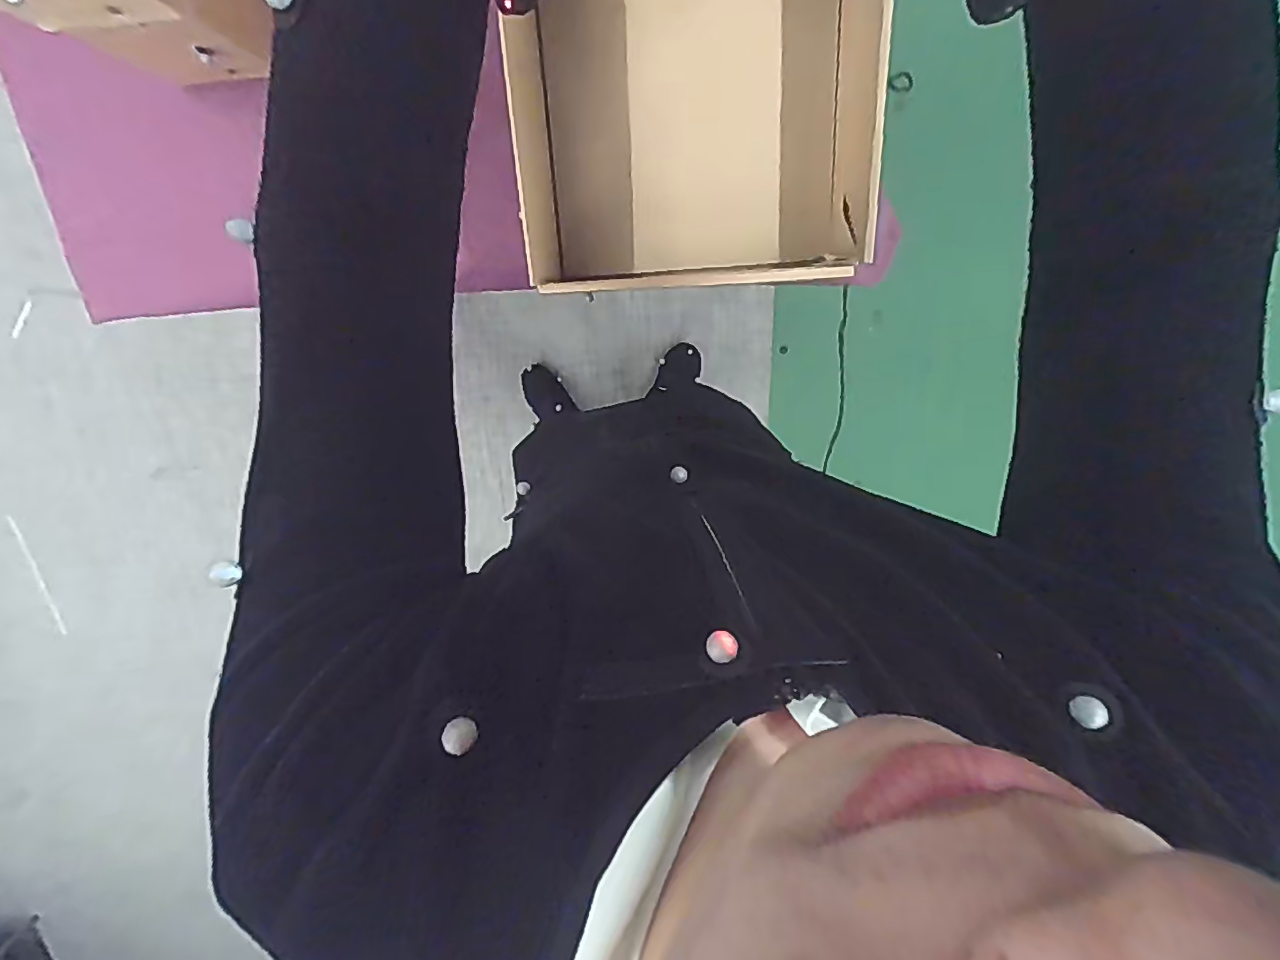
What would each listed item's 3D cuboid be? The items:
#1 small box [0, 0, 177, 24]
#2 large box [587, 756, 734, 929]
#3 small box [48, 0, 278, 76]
[{"bbox_3d":[-0.584,-0.556,0.494,0.168,0.176,0.179,-2,108,3],"label":"small box"},{"bbox_3d":[0.072,1.291,1.943,0.408,0.320,0.320,-34,105,12],"label":"large box"},{"bbox_3d":[-0.576,-0.611,0.646,0.168,0.176,0.179,-2,108,3],"label":"small box"}]
